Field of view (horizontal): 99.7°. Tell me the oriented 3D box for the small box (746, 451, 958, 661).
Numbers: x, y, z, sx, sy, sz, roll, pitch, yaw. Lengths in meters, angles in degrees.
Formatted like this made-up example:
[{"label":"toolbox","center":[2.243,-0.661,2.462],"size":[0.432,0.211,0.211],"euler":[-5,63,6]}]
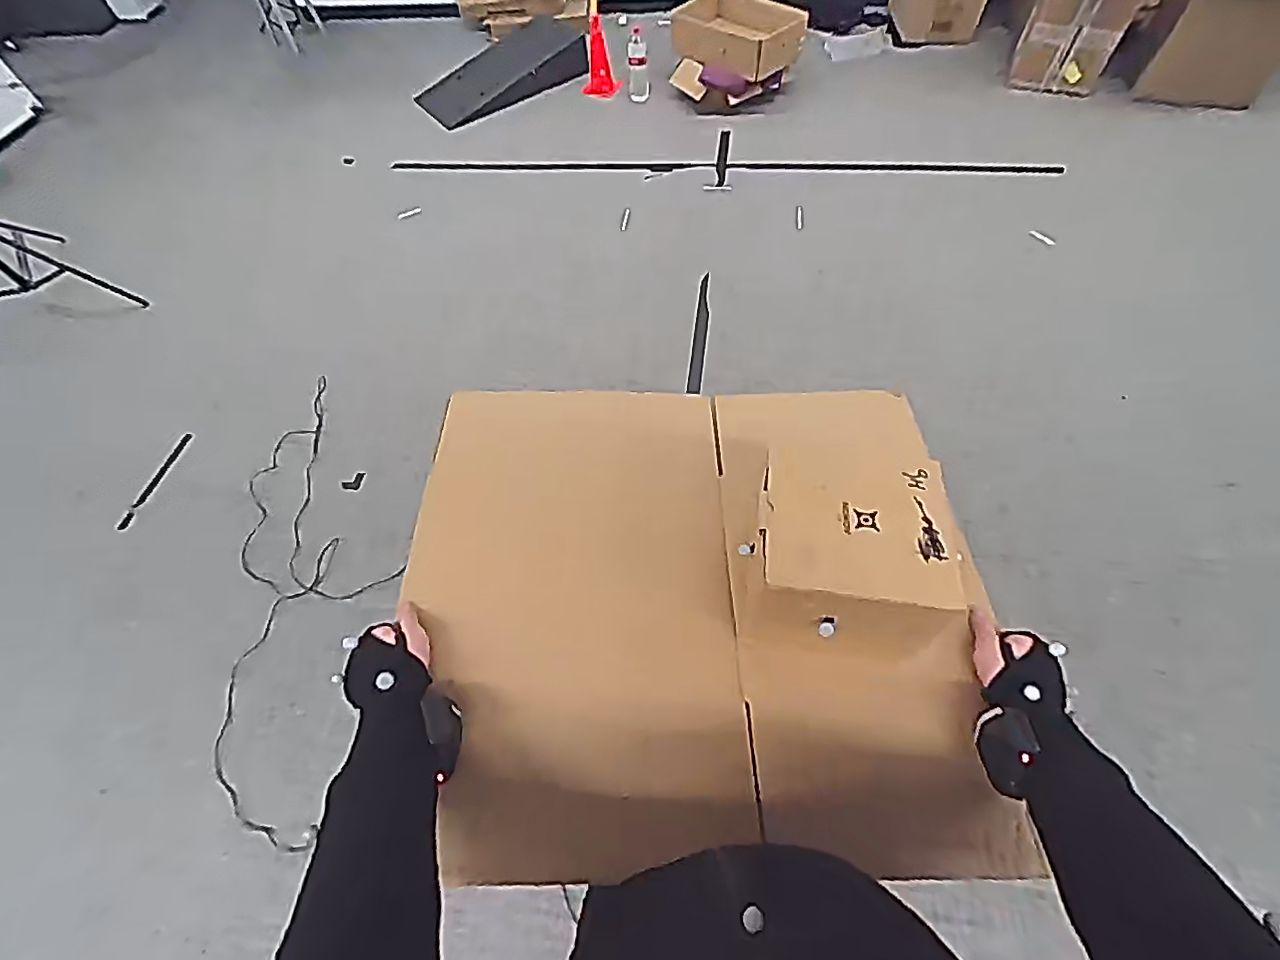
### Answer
[{"label":"small box","center":[0.214,0.088,0.597],"size":[0.179,0.176,0.168],"euler":[6,56,8]}]
